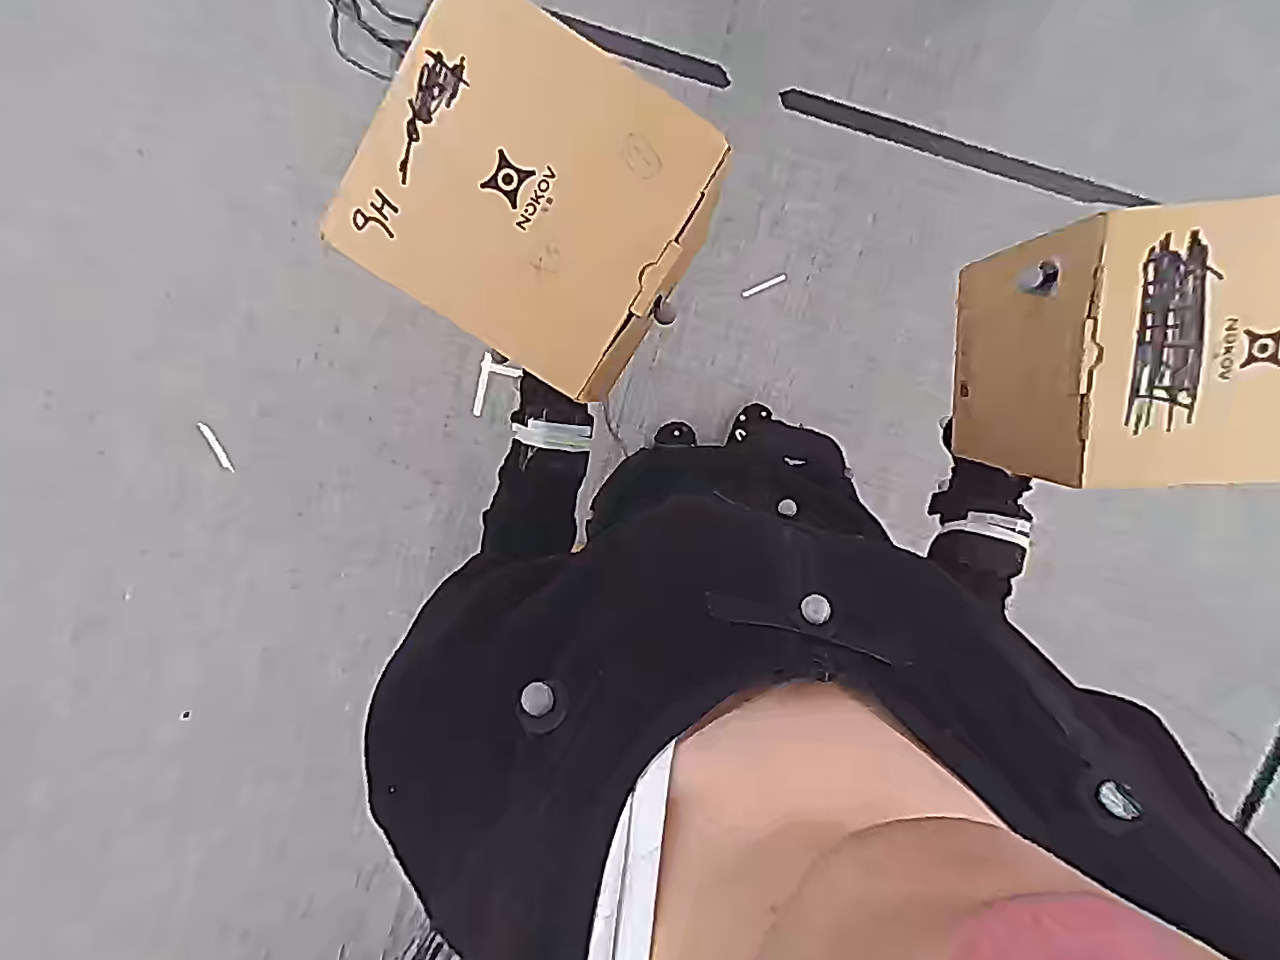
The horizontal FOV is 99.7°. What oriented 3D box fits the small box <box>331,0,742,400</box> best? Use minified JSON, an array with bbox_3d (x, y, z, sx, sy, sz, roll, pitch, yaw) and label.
[{"bbox_3d":[-0.058,-0.173,0.376,0.179,0.176,0.168,32,98,-5],"label":"small box"}]
